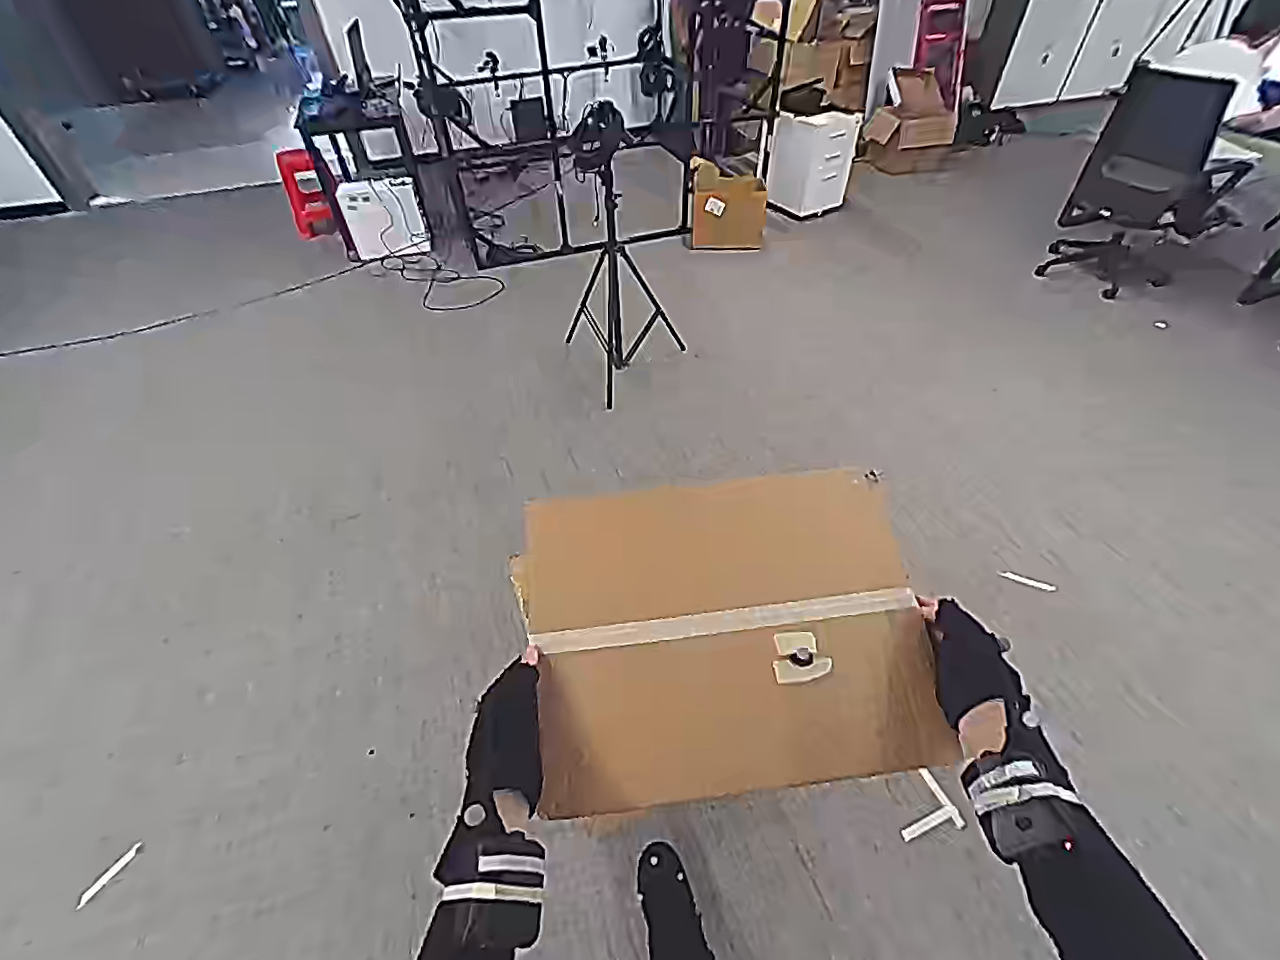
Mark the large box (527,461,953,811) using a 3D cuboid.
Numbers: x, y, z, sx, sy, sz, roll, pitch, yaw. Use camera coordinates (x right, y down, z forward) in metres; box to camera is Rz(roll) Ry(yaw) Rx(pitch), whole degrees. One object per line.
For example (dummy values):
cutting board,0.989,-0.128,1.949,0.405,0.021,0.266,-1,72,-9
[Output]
large box,0.084,0.201,0.703,0.408,0.320,0.320,-7,67,-4
